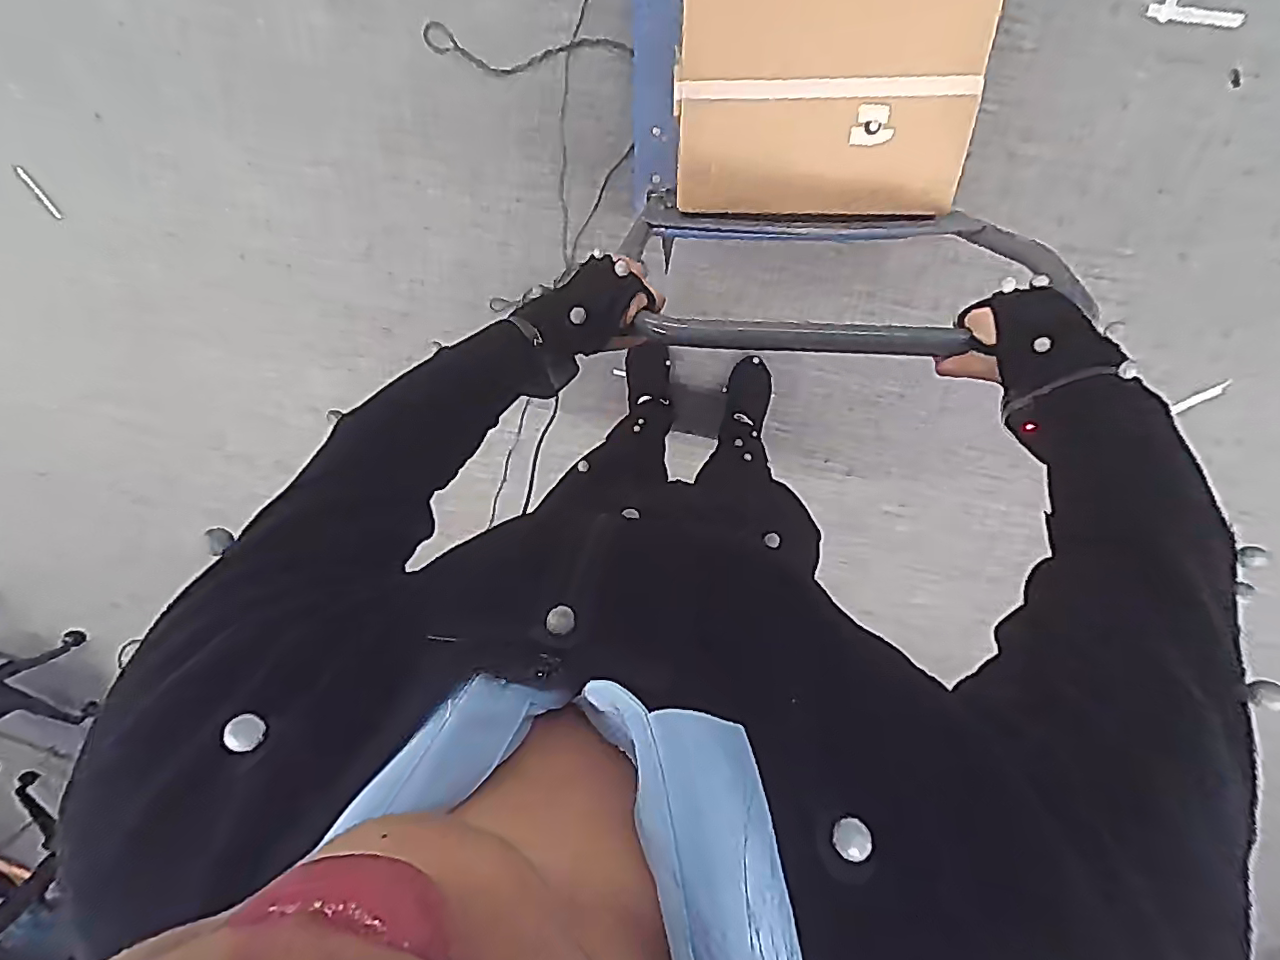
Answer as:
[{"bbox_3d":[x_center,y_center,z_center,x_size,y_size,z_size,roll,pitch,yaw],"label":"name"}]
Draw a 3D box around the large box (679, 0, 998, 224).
[{"bbox_3d":[0.266,-0.598,0.874,0.408,0.320,0.320,2,120,4],"label":"large box"}]
